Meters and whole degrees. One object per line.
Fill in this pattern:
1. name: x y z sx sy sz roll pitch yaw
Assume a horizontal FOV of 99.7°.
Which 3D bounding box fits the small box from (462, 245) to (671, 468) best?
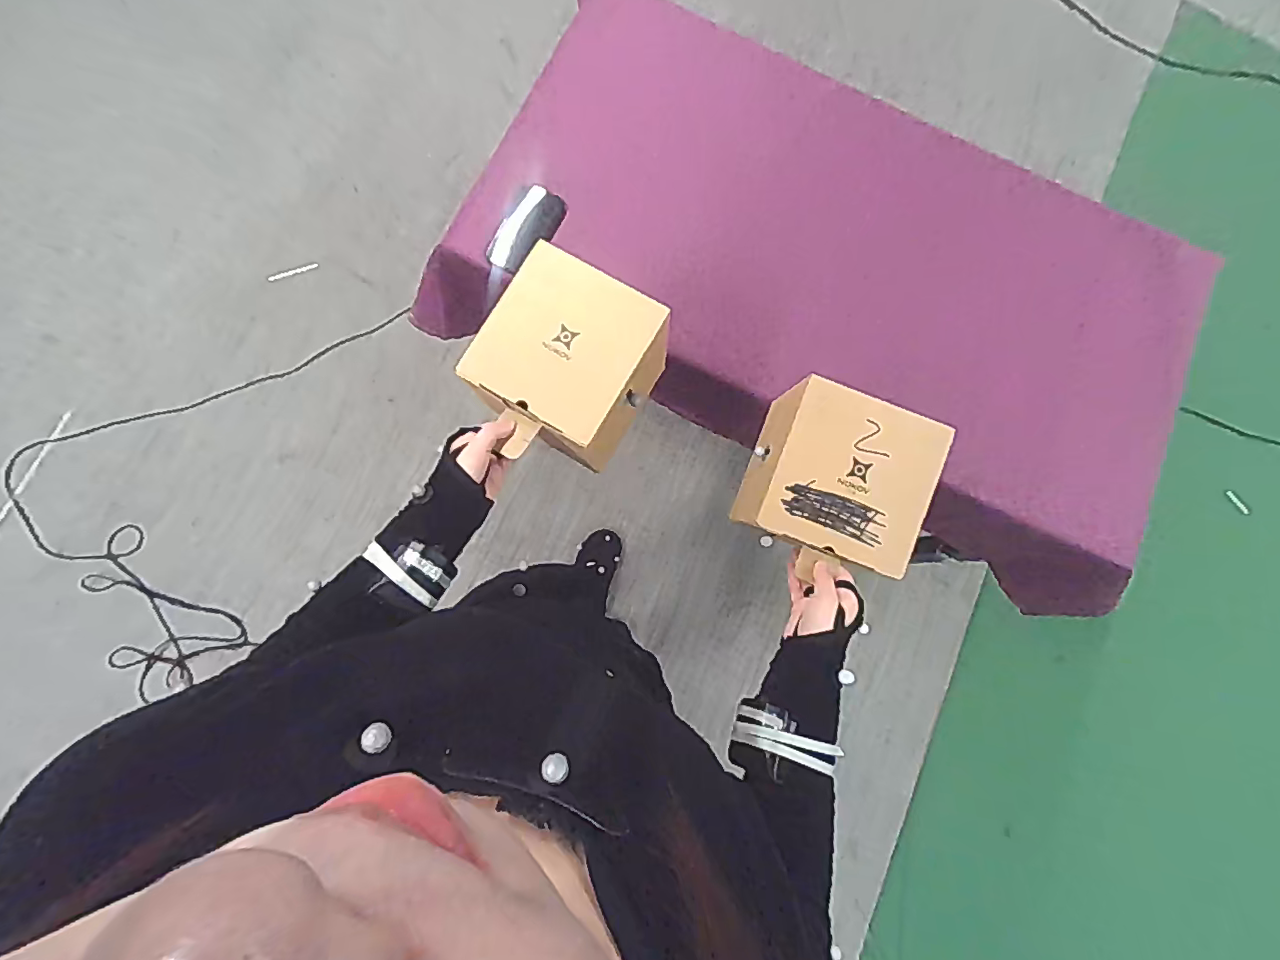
1. small box: -0.079 -0.135 0.657 0.168 0.176 0.179 30 84 5
